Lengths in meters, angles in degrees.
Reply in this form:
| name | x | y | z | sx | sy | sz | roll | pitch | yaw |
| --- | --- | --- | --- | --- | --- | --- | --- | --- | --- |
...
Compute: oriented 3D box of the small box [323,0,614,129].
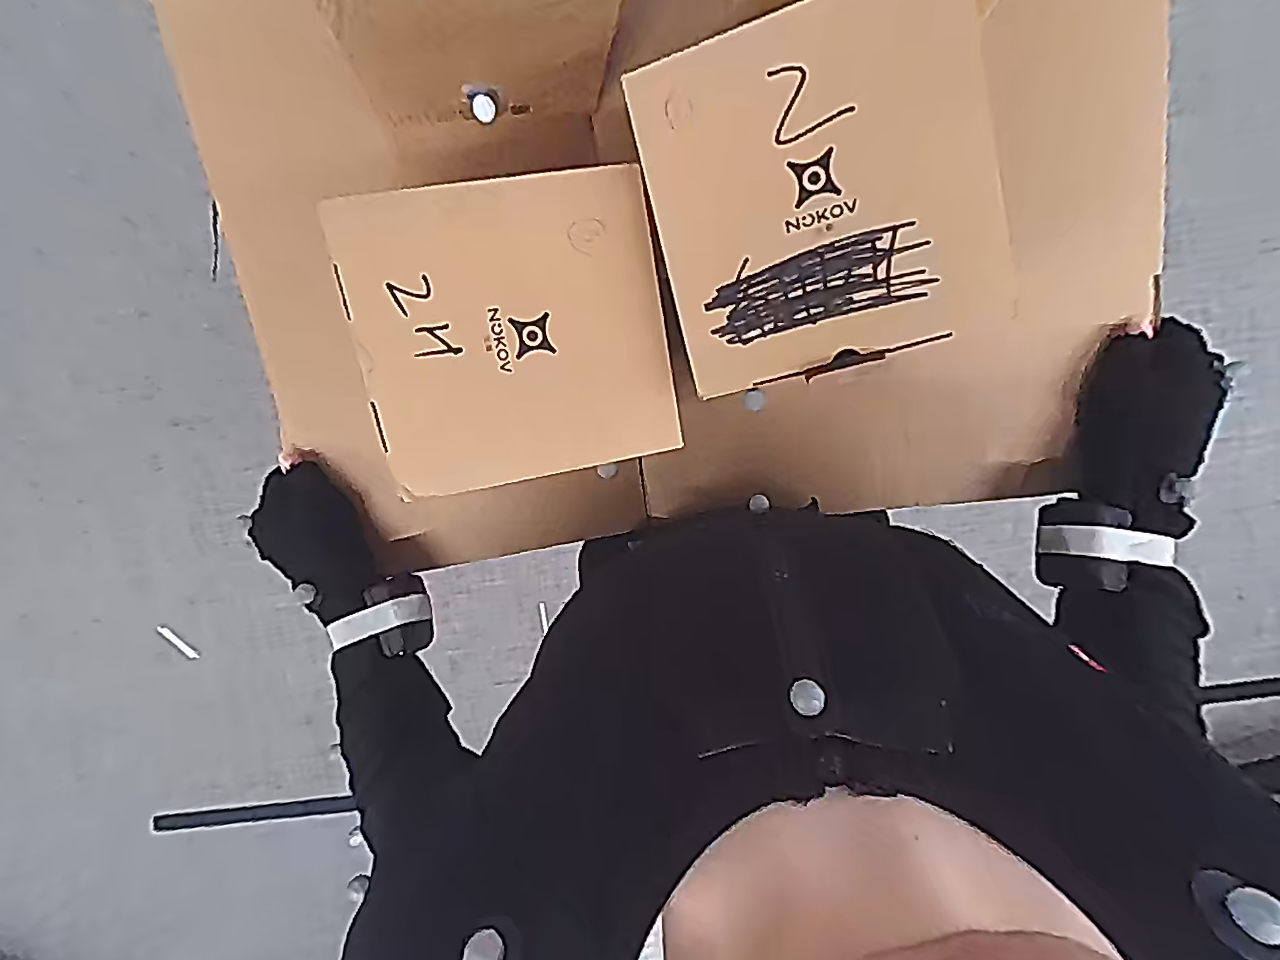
| name | x | y | z | sx | sy | sz | roll | pitch | yaw |
| --- | --- | --- | --- | --- | --- | --- | --- | --- | --- |
| small box | -0.117 | -0.356 | 0.337 | 0.168 | 0.176 | 0.179 | -11 | 103 | -9 |
